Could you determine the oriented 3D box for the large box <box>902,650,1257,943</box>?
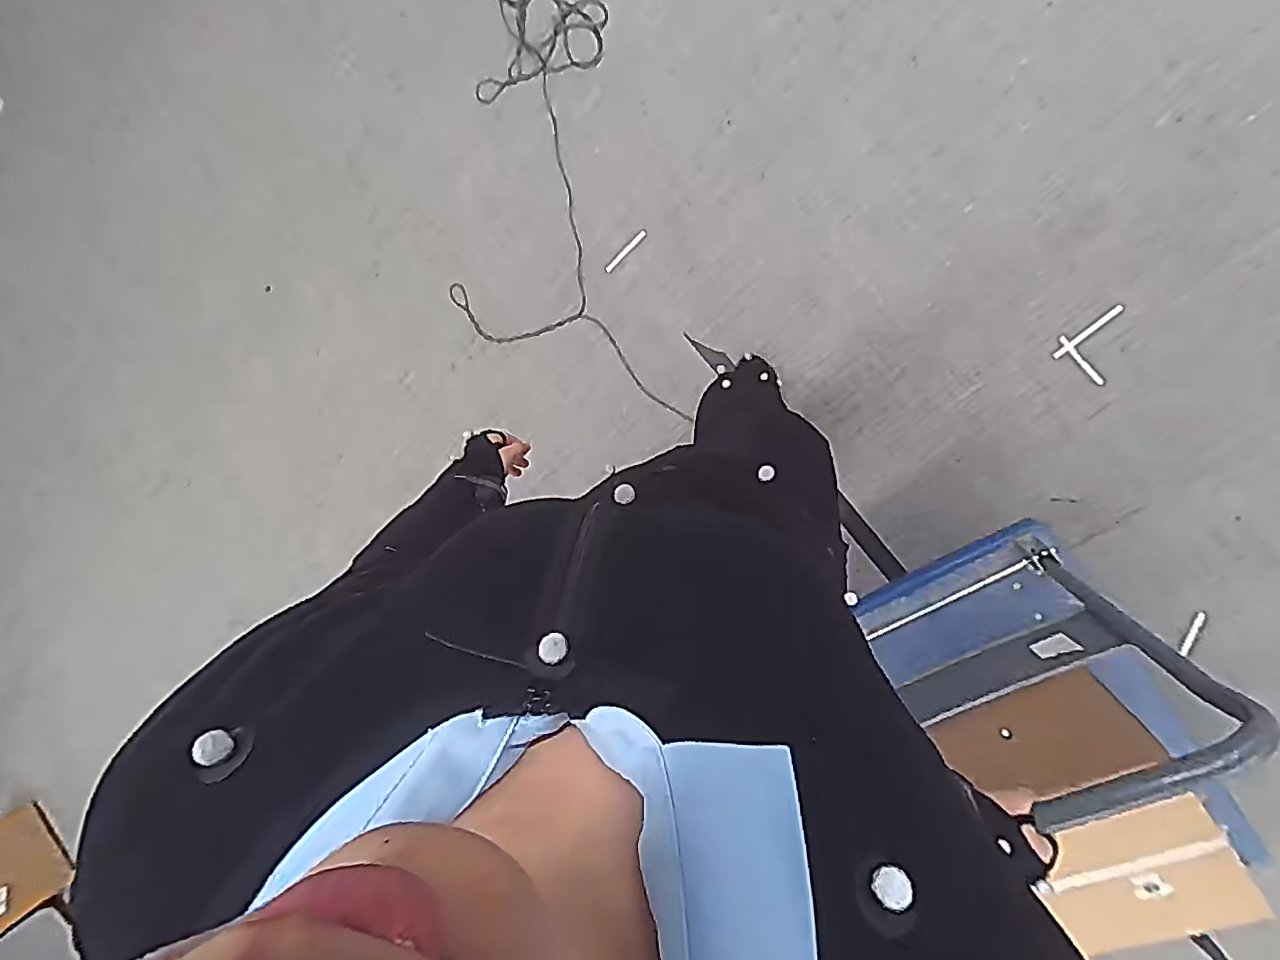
[{"bbox_3d":[0.829,0.620,1.102,0.408,0.320,0.320,-34,91,18],"label":"large box"}]
